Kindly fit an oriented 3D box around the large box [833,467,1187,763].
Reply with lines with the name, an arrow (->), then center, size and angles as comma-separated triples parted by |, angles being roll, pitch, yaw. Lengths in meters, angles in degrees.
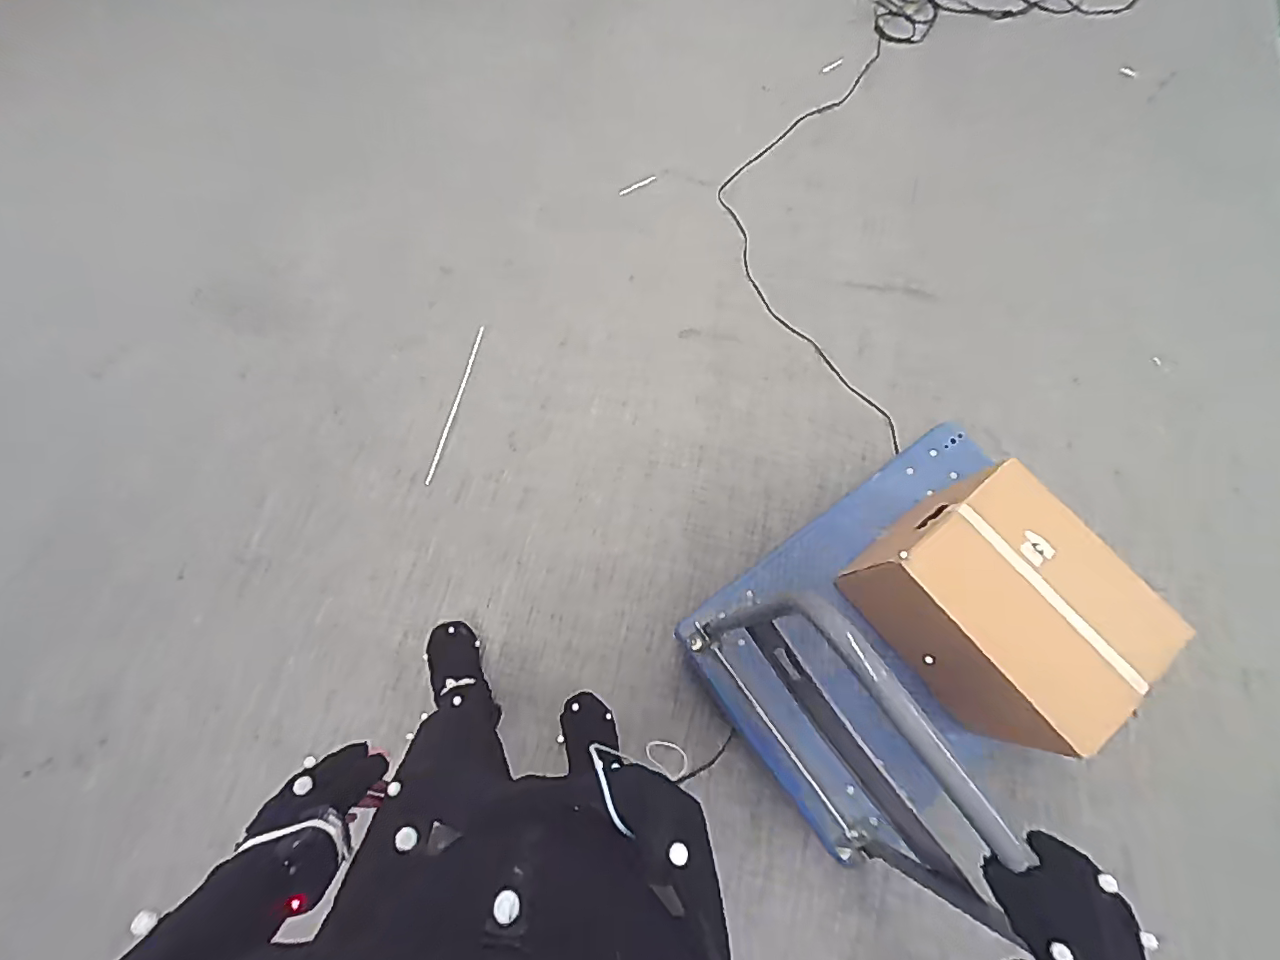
large box -> 0.669, 0.254, 1.052 | 0.320, 0.320, 0.408 | -37, 77, -13
